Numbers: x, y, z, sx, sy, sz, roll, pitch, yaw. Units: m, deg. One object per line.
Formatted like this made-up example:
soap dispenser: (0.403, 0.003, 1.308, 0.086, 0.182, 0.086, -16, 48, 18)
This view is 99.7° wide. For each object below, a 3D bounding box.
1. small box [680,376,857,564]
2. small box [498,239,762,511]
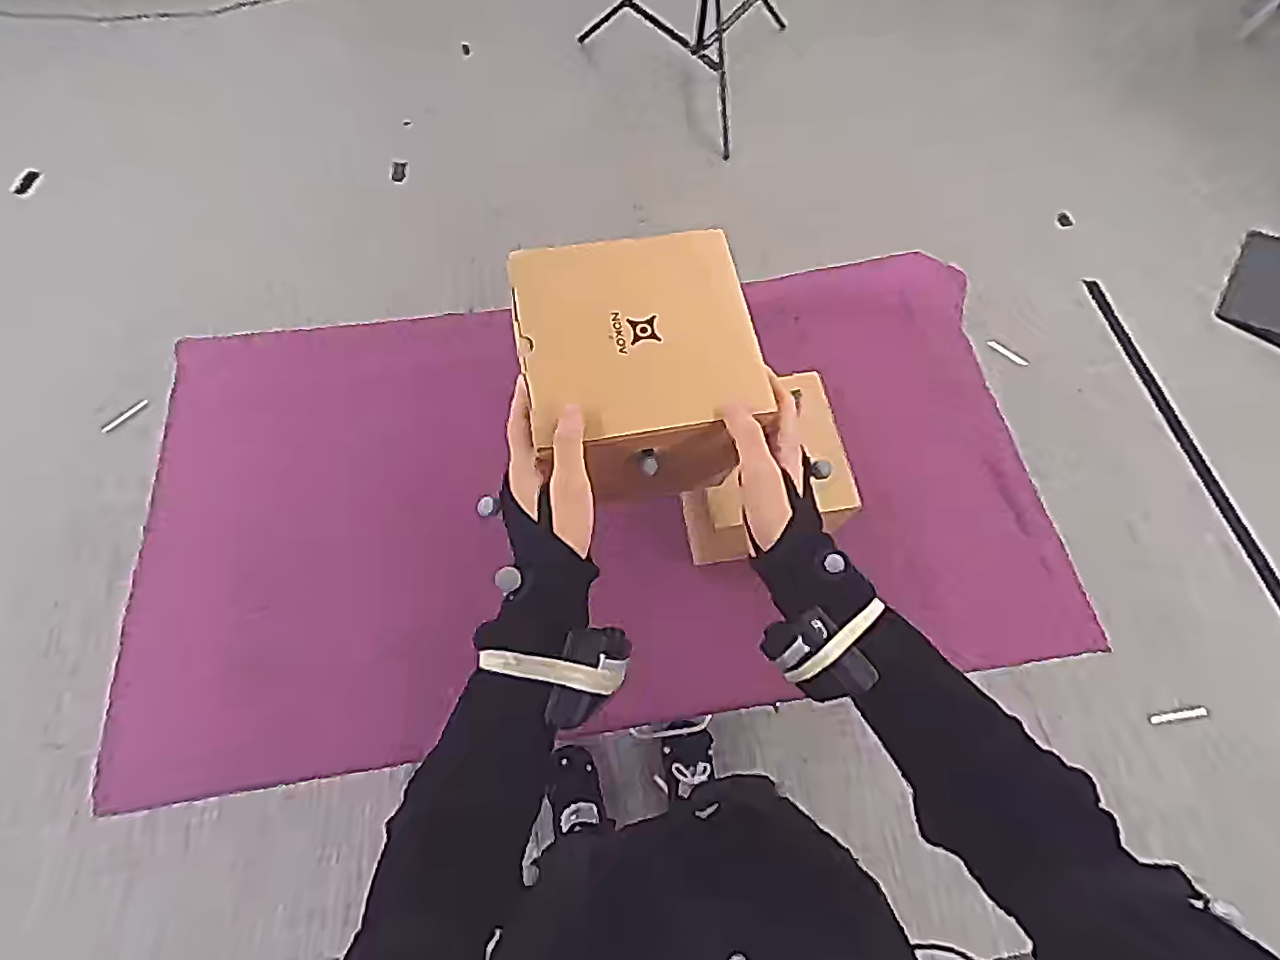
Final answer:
small box: (0.140, -0.006, 0.681, 0.168, 0.176, 0.179, -8, 69, -4)
small box: (-0.017, -0.080, 0.477, 0.179, 0.176, 0.168, -10, 73, -8)
